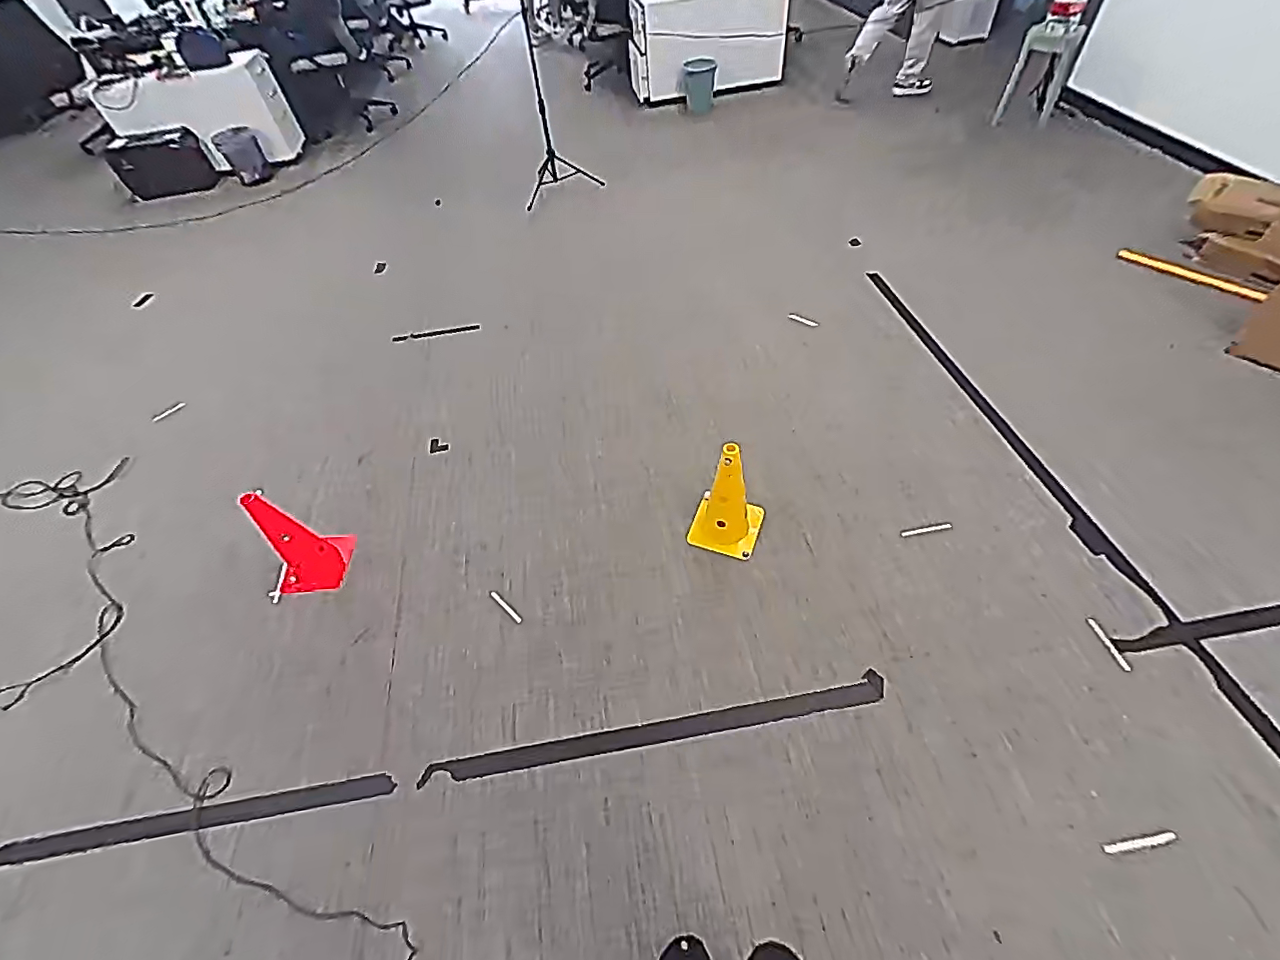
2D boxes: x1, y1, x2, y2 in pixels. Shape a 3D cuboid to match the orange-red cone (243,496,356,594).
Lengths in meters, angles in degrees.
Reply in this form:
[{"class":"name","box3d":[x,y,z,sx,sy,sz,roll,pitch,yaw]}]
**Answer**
[{"class":"orange-red cone","box3d":[-1.037,0.165,1.593,0.199,0.360,0.198,-4,51,2]}]
